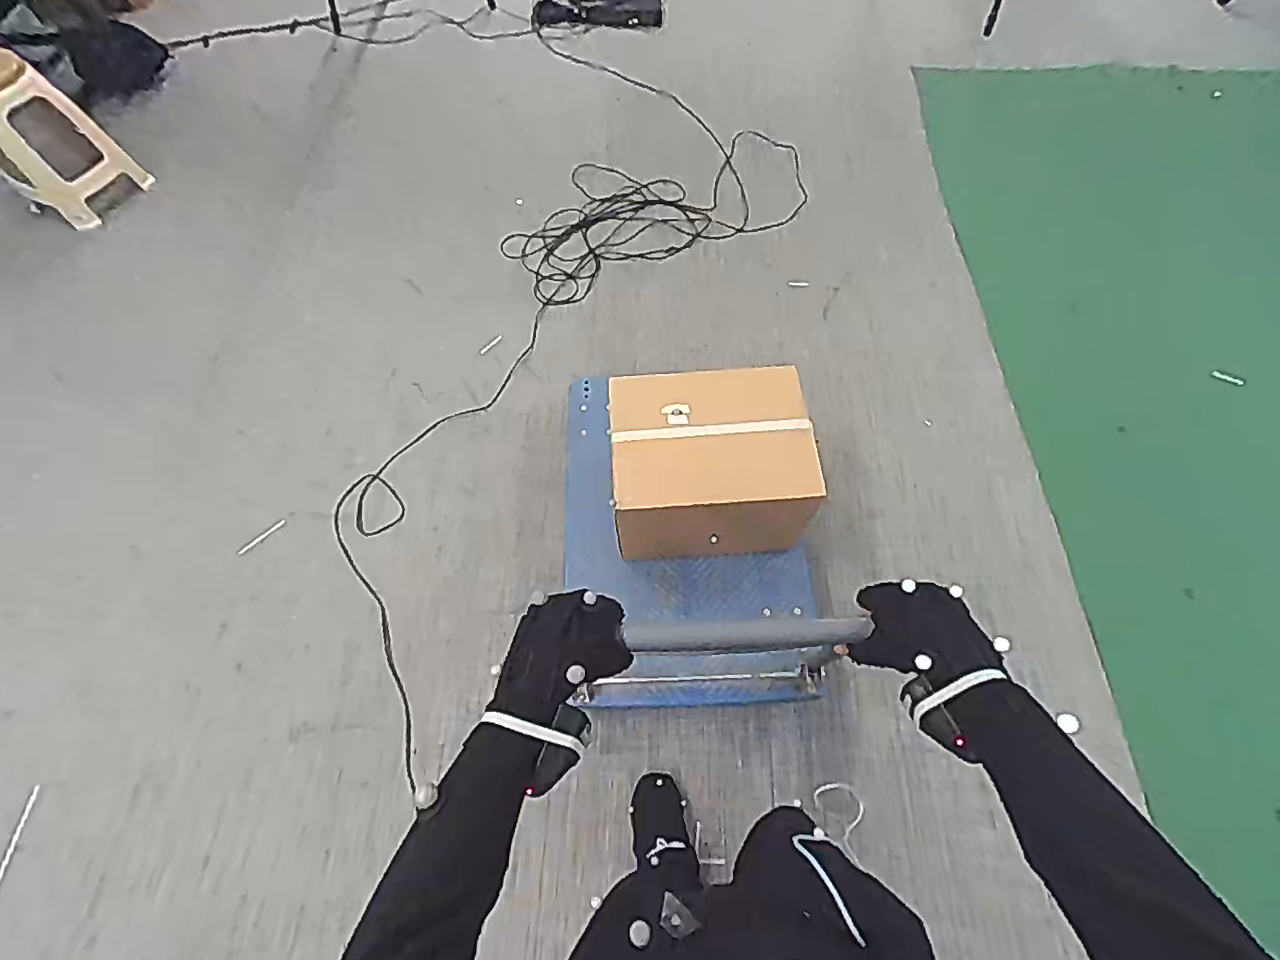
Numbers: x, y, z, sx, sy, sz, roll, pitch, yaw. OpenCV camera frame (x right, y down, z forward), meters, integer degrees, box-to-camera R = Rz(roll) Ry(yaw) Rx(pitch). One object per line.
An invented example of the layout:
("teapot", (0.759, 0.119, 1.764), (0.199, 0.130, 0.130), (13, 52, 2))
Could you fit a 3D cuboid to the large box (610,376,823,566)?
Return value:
("large box", (0.153, -0.006, 1.237), (0.408, 0.320, 0.320), (-5, 62, 1))
